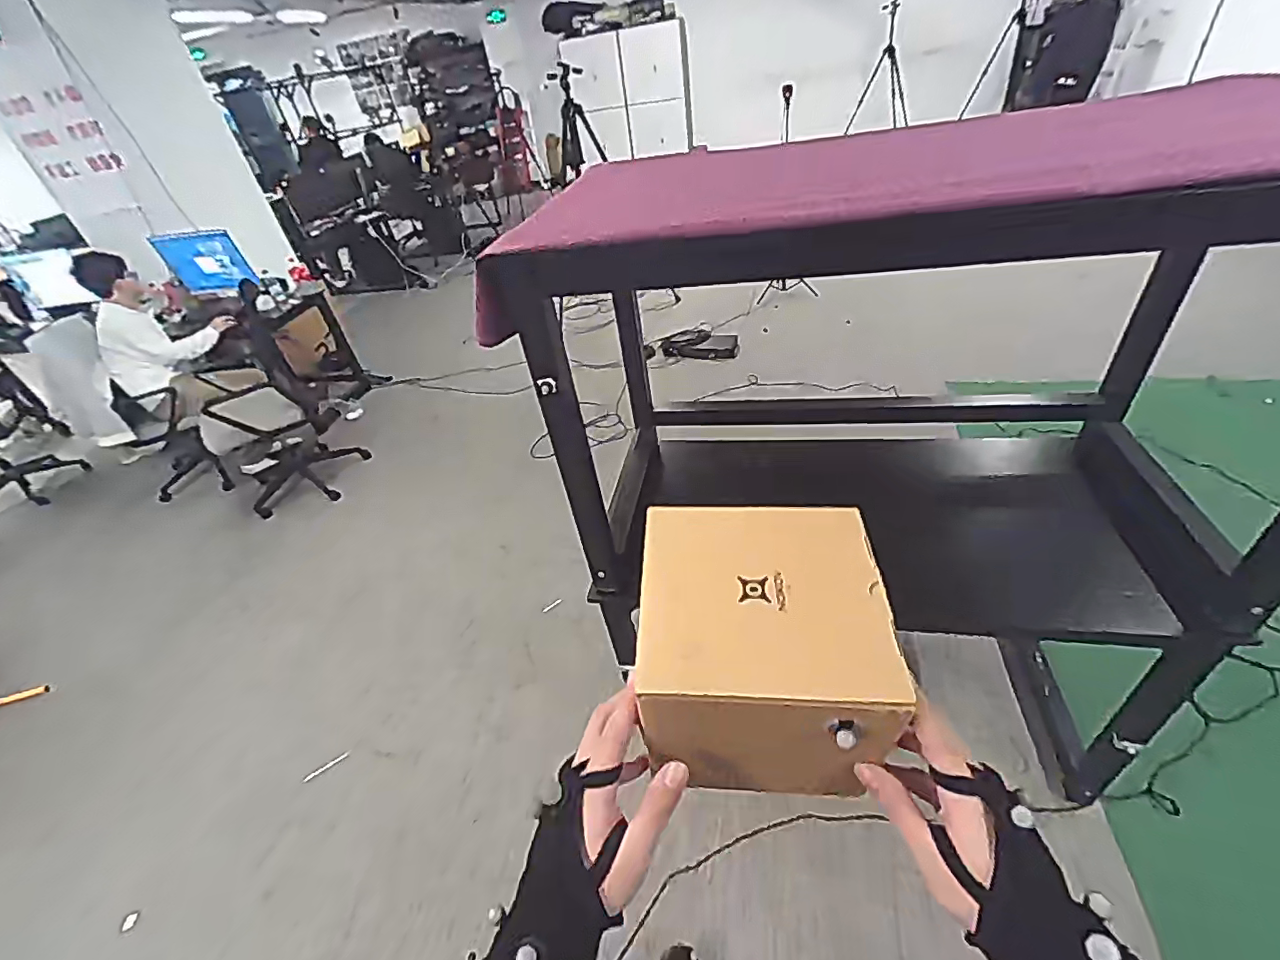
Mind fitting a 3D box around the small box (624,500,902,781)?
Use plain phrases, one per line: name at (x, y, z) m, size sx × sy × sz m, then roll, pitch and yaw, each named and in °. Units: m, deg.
small box at (0.089, 0.133, 0.449) m, size 0.179 × 0.176 × 0.168 m, roll -1°, pitch 44°, yaw 6°
